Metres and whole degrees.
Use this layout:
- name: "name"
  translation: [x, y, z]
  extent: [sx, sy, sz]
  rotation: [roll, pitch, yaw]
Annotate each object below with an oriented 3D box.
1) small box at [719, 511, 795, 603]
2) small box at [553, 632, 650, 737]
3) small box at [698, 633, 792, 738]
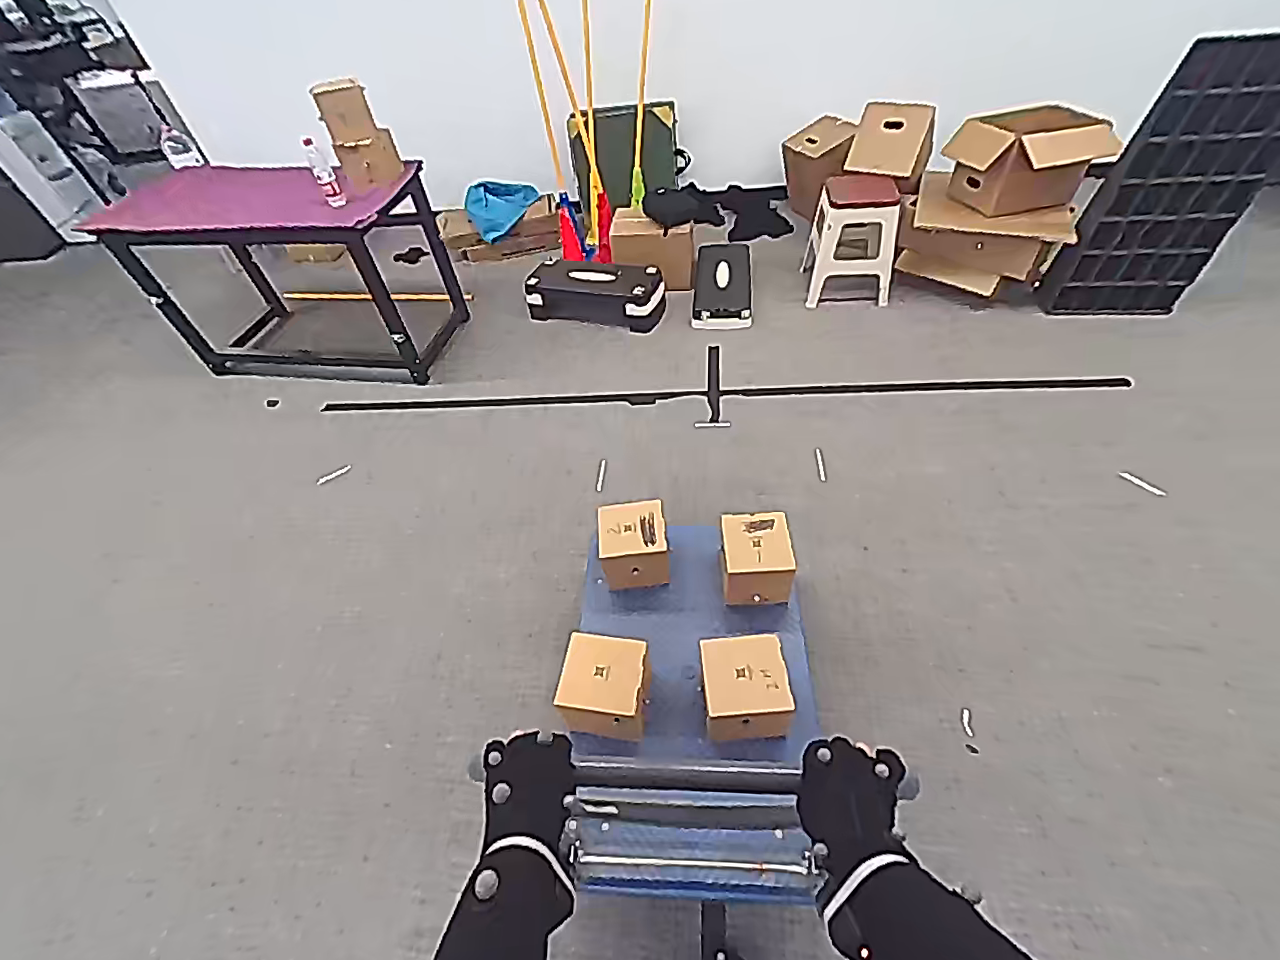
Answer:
- name: "small box"
  translation: [0.295, 0.201, 1.403]
  extent: [0.168, 0.176, 0.179]
  rotation: [-4, 50, 4]
- name: "small box"
  translation: [-0.078, 0.464, 1.221]
  extent: [0.179, 0.176, 0.168]
  rotation: [4, 49, 9]
- name: "small box"
  translation: [0.225, 0.455, 1.190]
  extent: [0.179, 0.176, 0.168]
  rotation: [-6, 49, 3]
